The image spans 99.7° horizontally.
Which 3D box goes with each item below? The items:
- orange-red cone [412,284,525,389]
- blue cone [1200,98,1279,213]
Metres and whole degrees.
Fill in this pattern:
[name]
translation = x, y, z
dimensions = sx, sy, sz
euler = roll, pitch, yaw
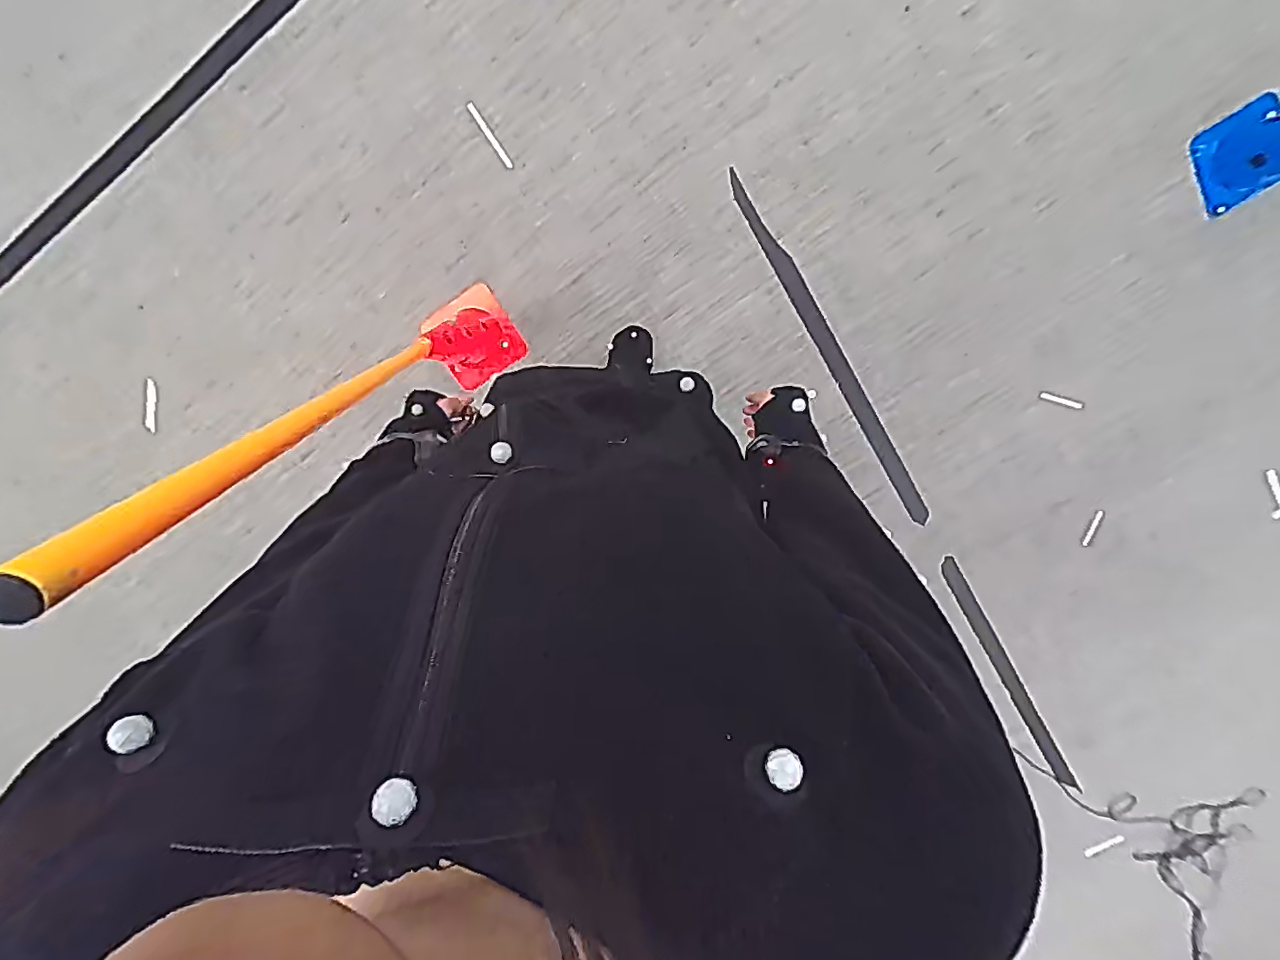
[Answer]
[orange-red cone]
translation = -0.402, -0.297, 1.151
dimensions = 0.198, 0.360, 0.199
euler = -30, 104, 7
[blue cone]
translation = 1.400, -0.698, 1.088
dimensions = 0.193, 0.380, 0.192
euler = -30, 106, 8
